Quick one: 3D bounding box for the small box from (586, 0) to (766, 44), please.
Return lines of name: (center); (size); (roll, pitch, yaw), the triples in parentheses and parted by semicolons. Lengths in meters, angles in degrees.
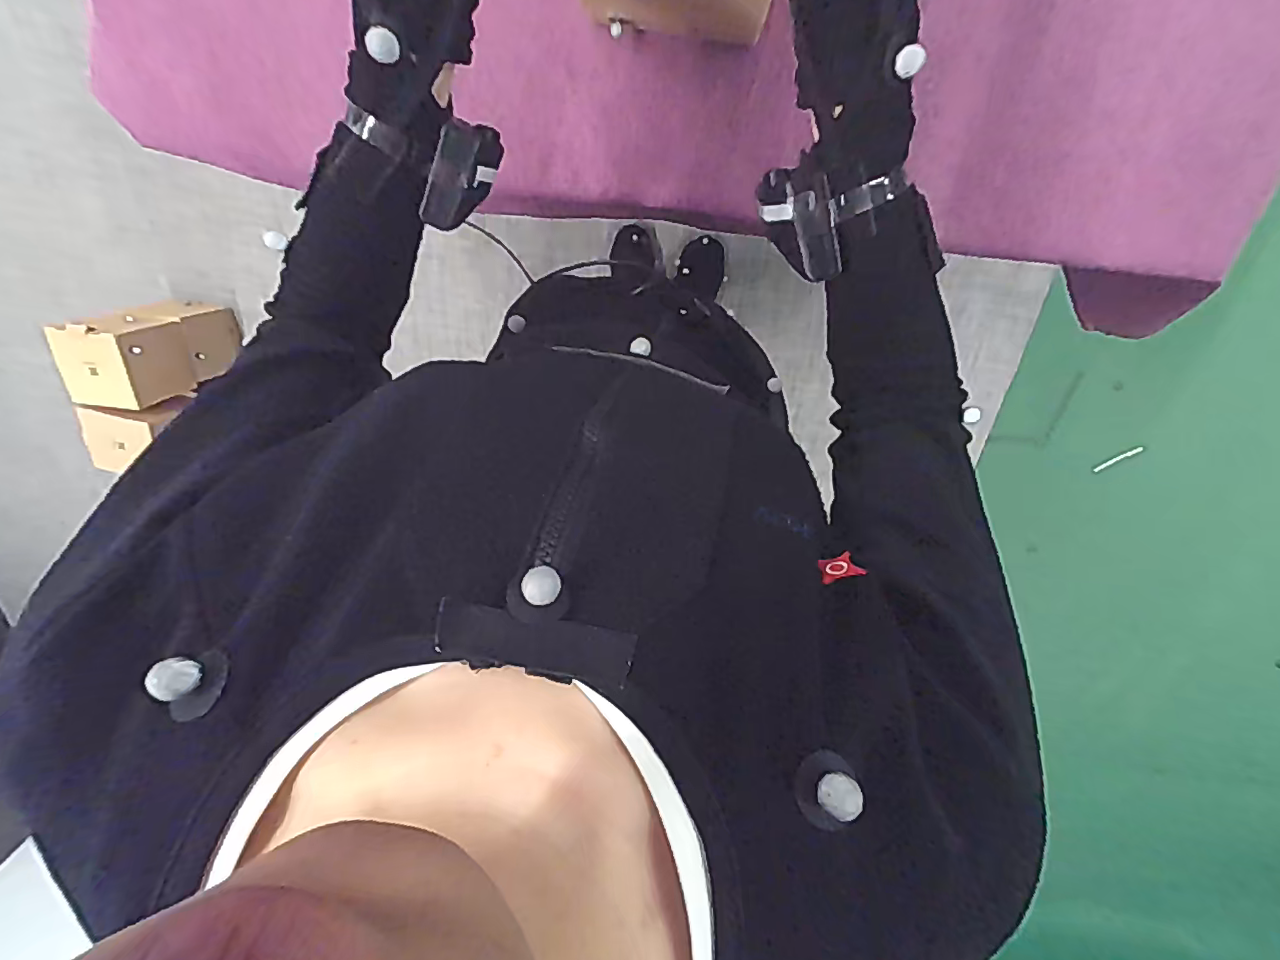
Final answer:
small box: (0.036, -0.477, 0.425); (0.168, 0.176, 0.179); (9, 116, 1)
